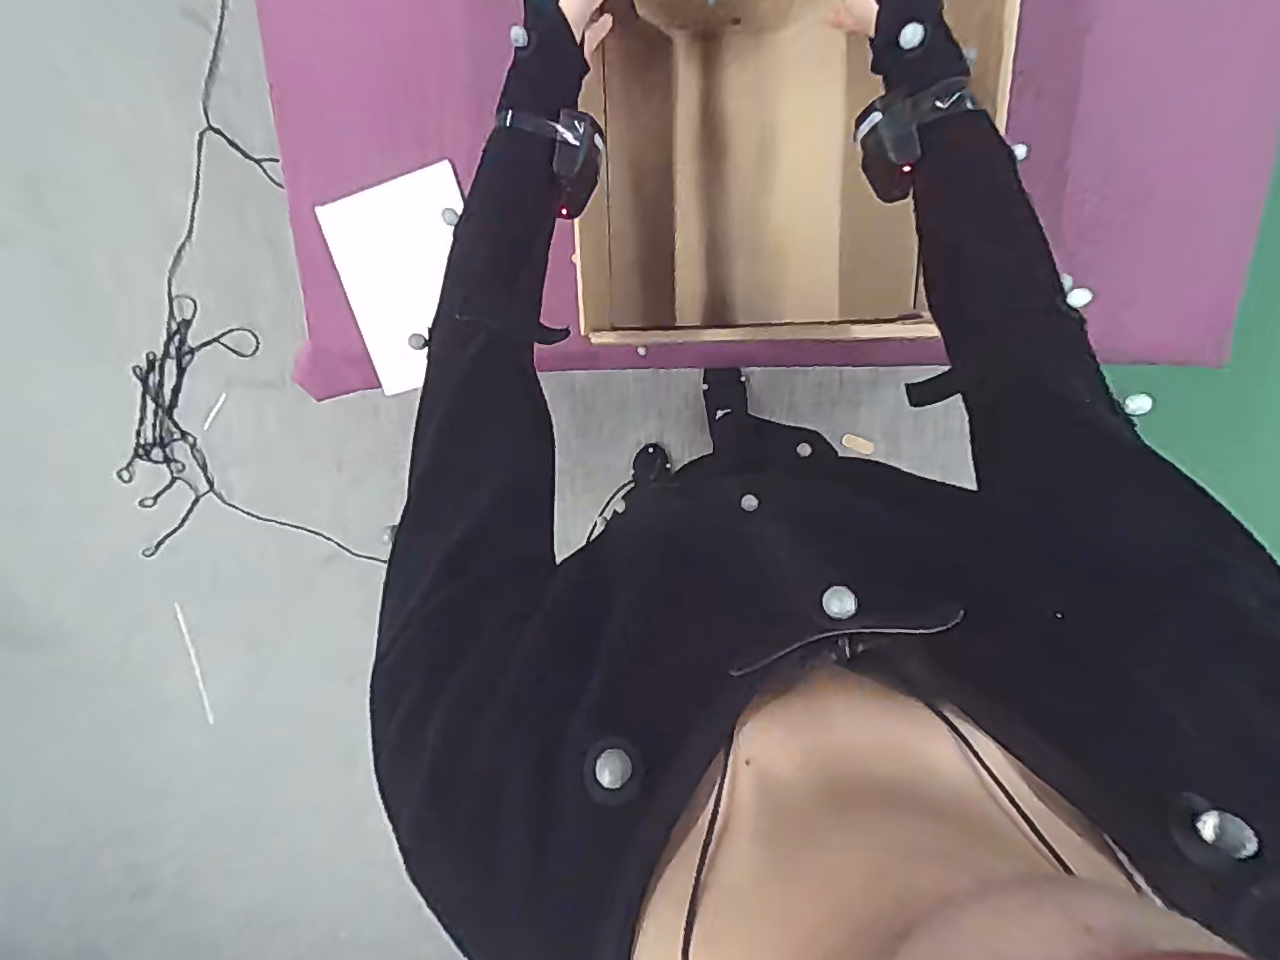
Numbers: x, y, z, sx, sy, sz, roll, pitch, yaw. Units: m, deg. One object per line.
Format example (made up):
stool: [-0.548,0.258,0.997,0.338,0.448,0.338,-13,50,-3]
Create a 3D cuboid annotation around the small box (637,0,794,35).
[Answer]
small box: [0.074,-0.559,0.510,0.168,0.176,0.179,0,104,6]
